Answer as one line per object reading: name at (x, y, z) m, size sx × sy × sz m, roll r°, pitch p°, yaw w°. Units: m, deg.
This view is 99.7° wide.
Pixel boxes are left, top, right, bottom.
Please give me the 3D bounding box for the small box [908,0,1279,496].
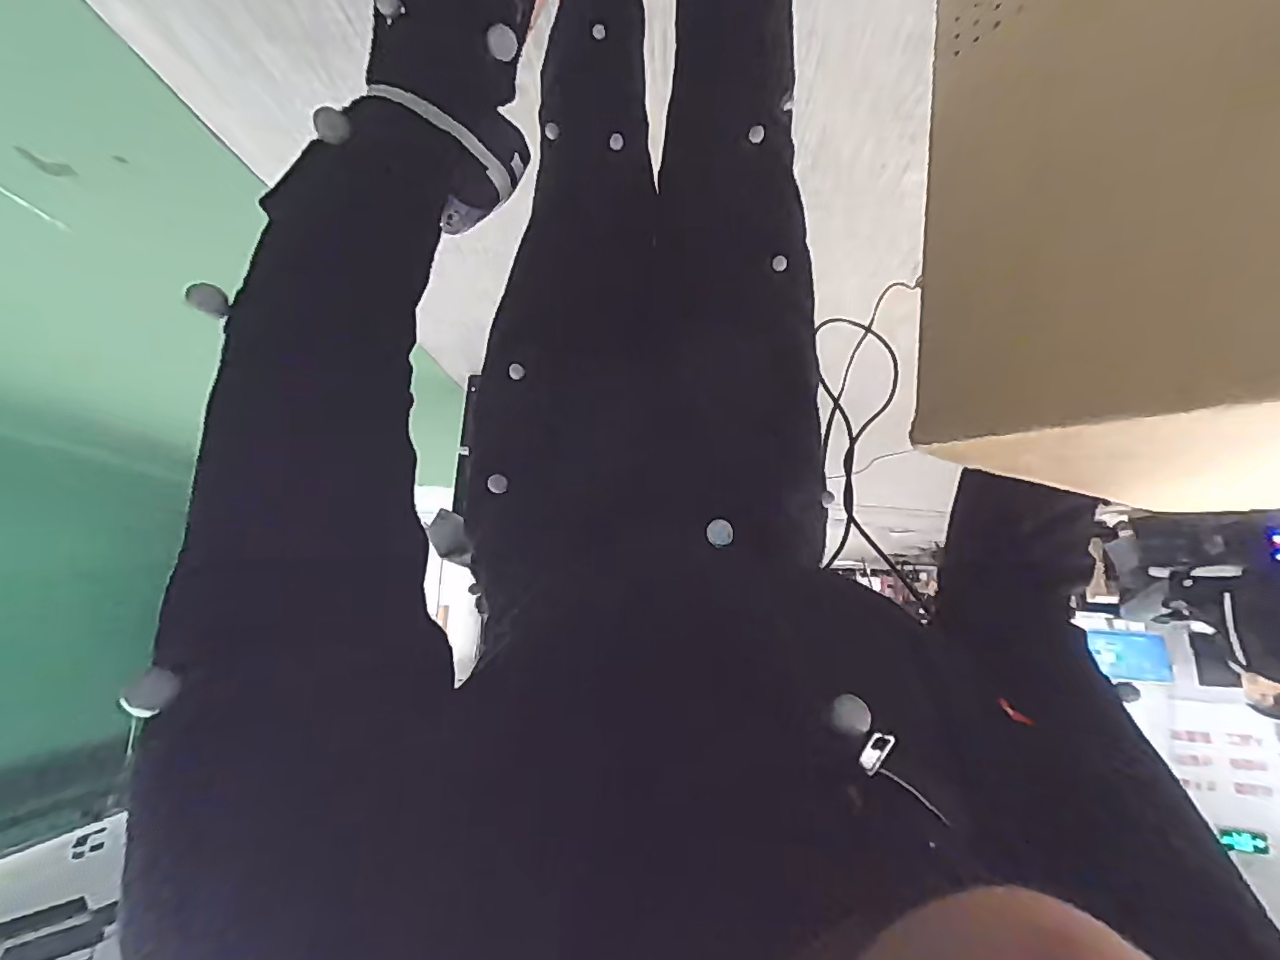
small box at (0.203, -0.094, 0.152) m, size 0.179 × 0.176 × 0.168 m, roll 9°, pitch 172°, yaw -27°
